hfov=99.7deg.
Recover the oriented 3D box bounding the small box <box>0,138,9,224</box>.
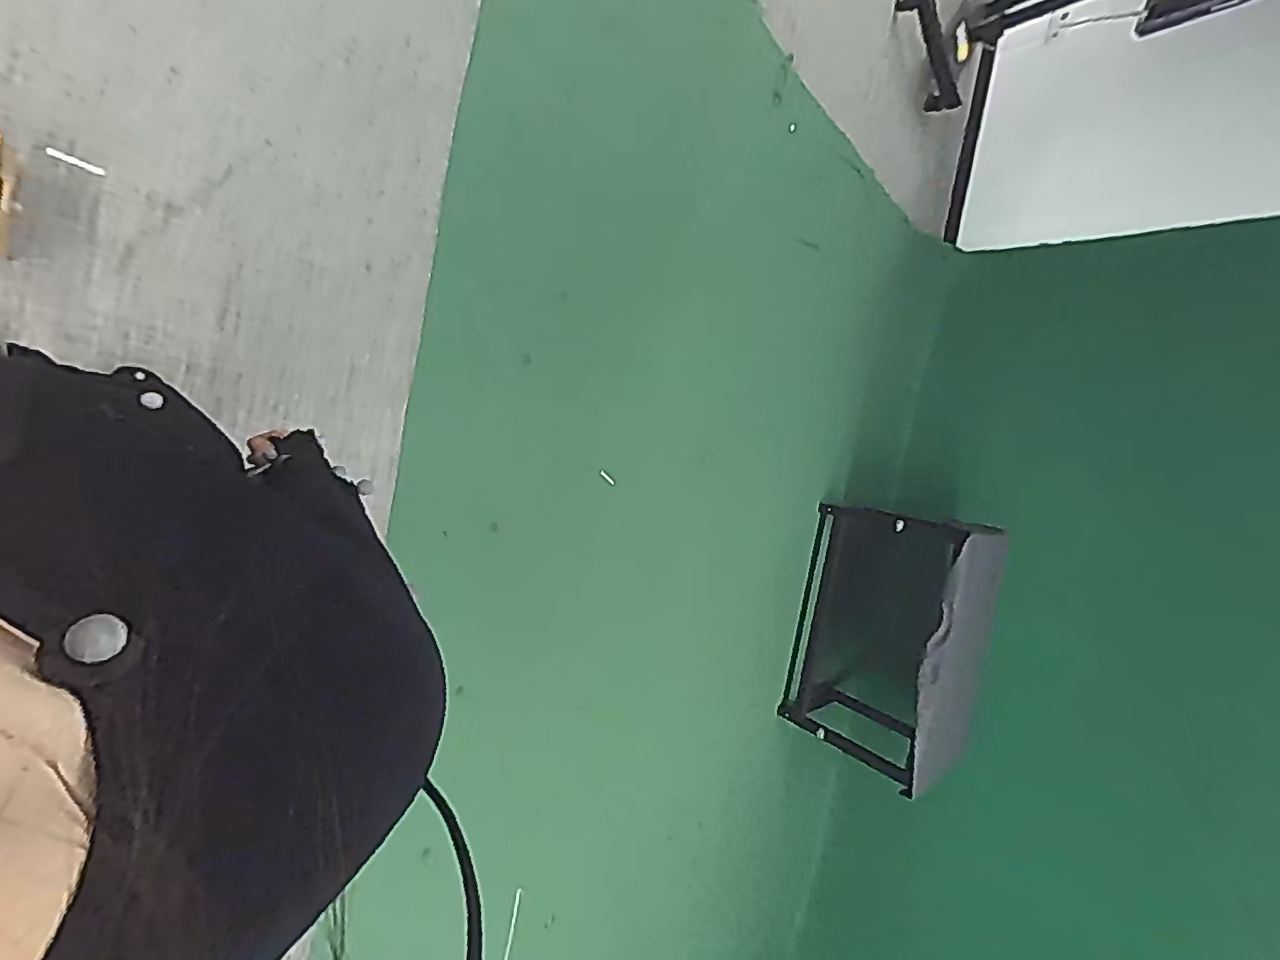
[{"bbox_3d":[-1.028,-0.446,0.755,0.179,0.176,0.168,6,97,-45],"label":"small box"}]
